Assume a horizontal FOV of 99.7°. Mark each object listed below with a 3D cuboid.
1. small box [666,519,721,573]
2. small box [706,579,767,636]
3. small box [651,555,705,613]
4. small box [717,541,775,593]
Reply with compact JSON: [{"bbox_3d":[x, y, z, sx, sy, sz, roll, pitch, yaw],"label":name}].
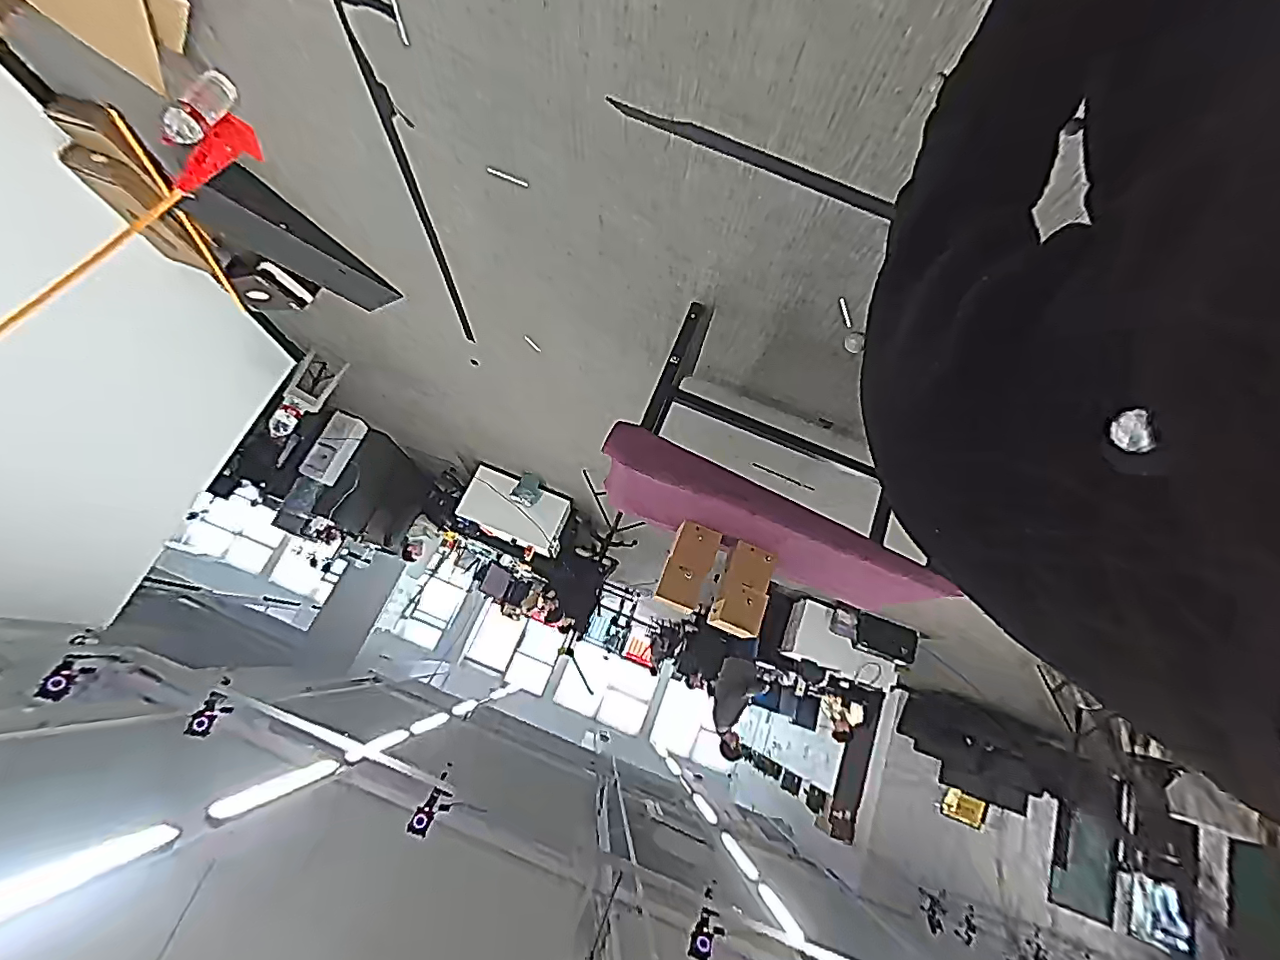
[{"bbox_3d":[0.218,0.279,2.225,0.168,0.176,0.179,22,161,1],"label":"small box"},{"bbox_3d":[0.387,0.509,2.153,0.168,0.176,0.179,23,160,-1],"label":"small box"},{"bbox_3d":[0.153,0.420,2.177,0.168,0.176,0.179,21,160,3],"label":"small box"},{"bbox_3d":[0.434,0.360,2.201,0.168,0.176,0.179,22,161,1],"label":"small box"}]
